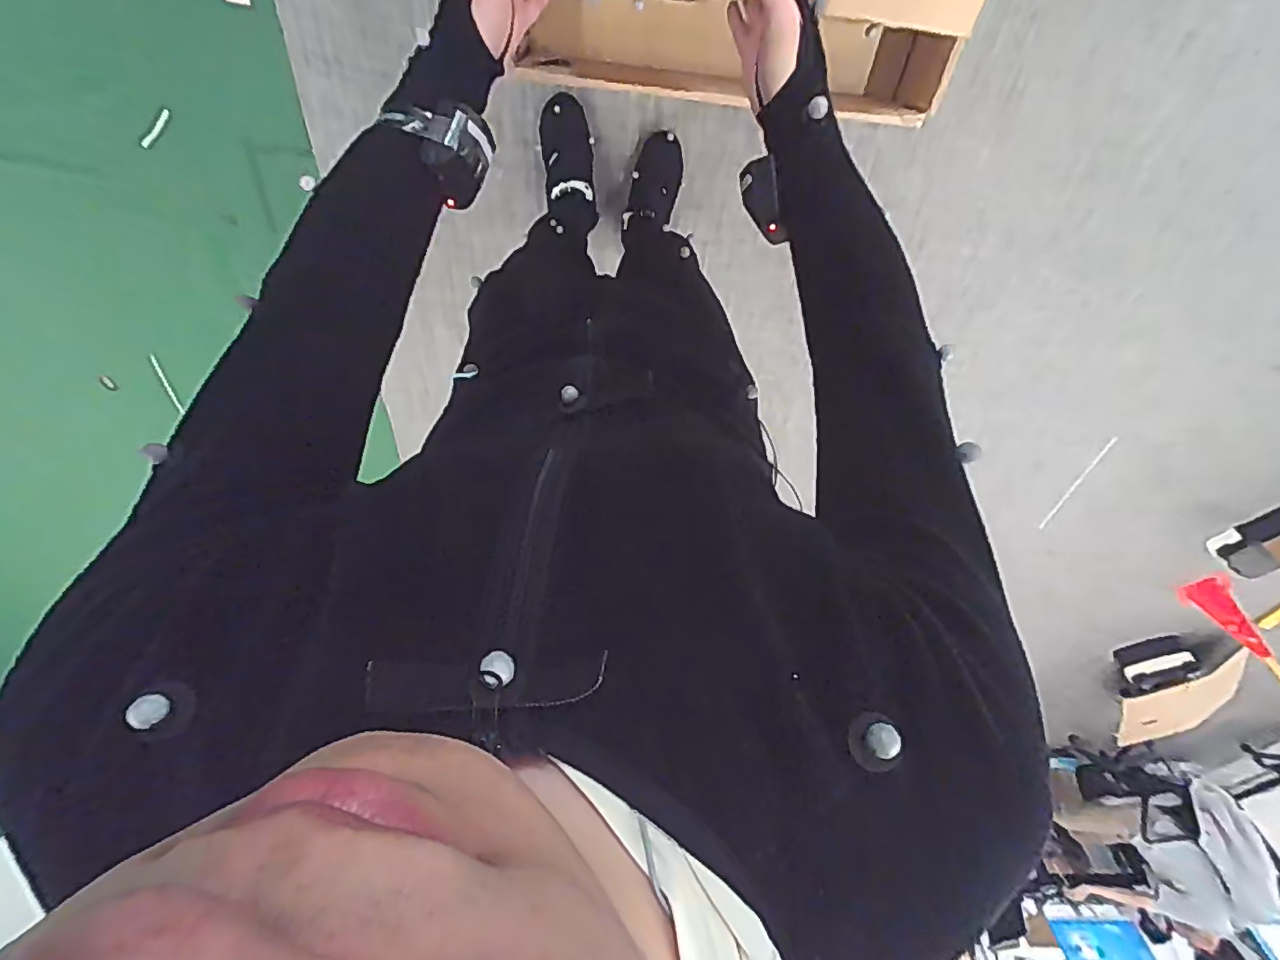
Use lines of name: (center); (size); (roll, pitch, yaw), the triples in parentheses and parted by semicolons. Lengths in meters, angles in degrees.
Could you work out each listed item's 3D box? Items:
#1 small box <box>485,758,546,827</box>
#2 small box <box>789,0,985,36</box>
small box: (-0.424, 1.076, 1.864); (0.179, 0.176, 0.168); (2, 133, -4)
small box: (0.271, -0.588, 0.564); (0.179, 0.176, 0.168); (4, 133, -7)
